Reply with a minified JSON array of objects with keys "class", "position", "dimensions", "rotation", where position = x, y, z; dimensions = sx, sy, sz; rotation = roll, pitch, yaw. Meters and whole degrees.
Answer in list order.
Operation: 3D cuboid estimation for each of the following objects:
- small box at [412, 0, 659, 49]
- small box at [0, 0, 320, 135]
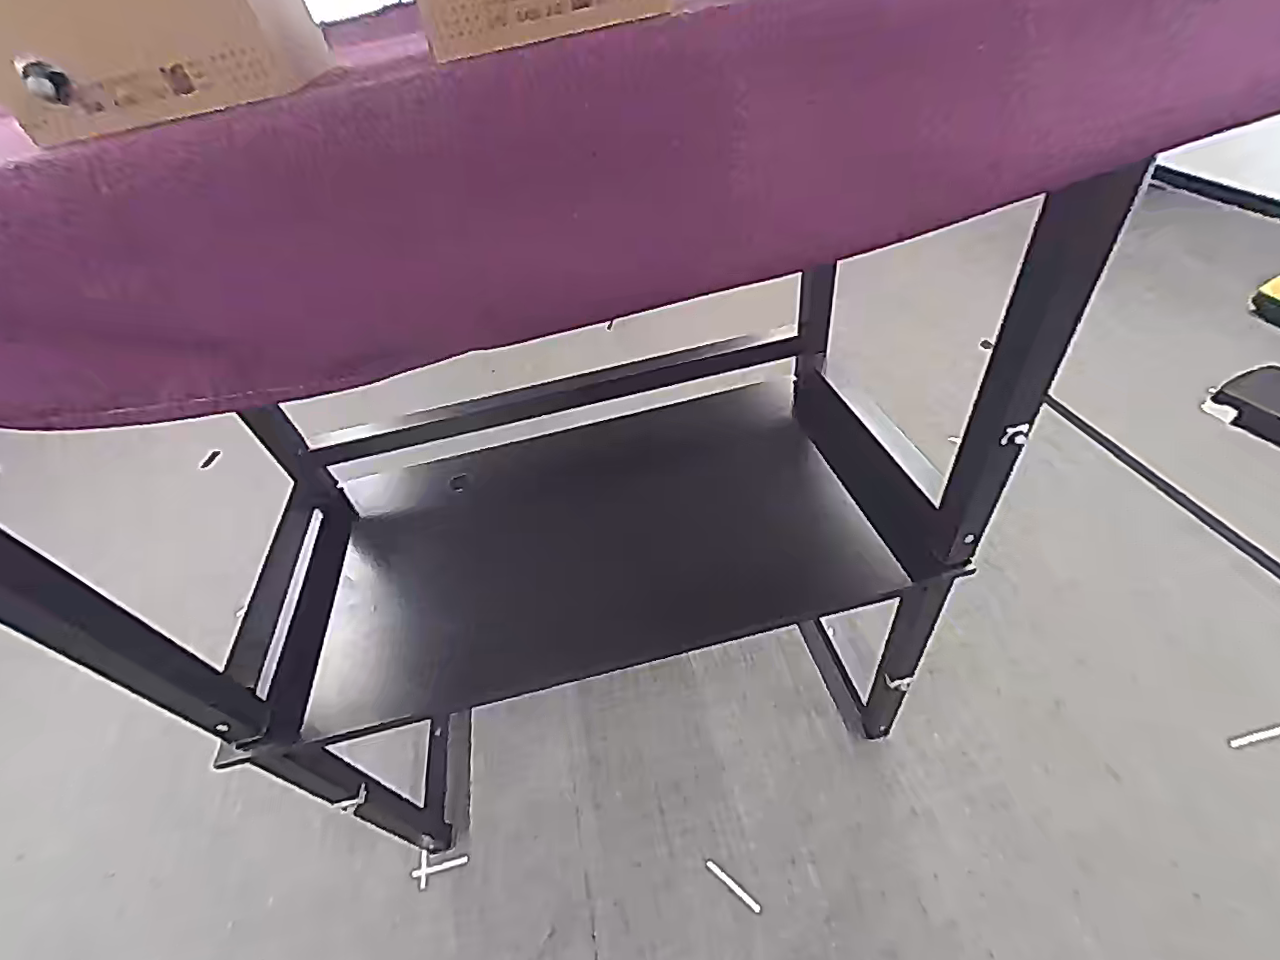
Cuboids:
[{"class":"small box","position":[-0.090,-0.407,0.357],"dimensions":[0.168,0.176,0.179],"rotation":[-16,44,-3]},{"class":"small box","position":[-0.343,-0.345,0.351],"dimensions":[0.168,0.176,0.179],"rotation":[-16,43,-4]}]
